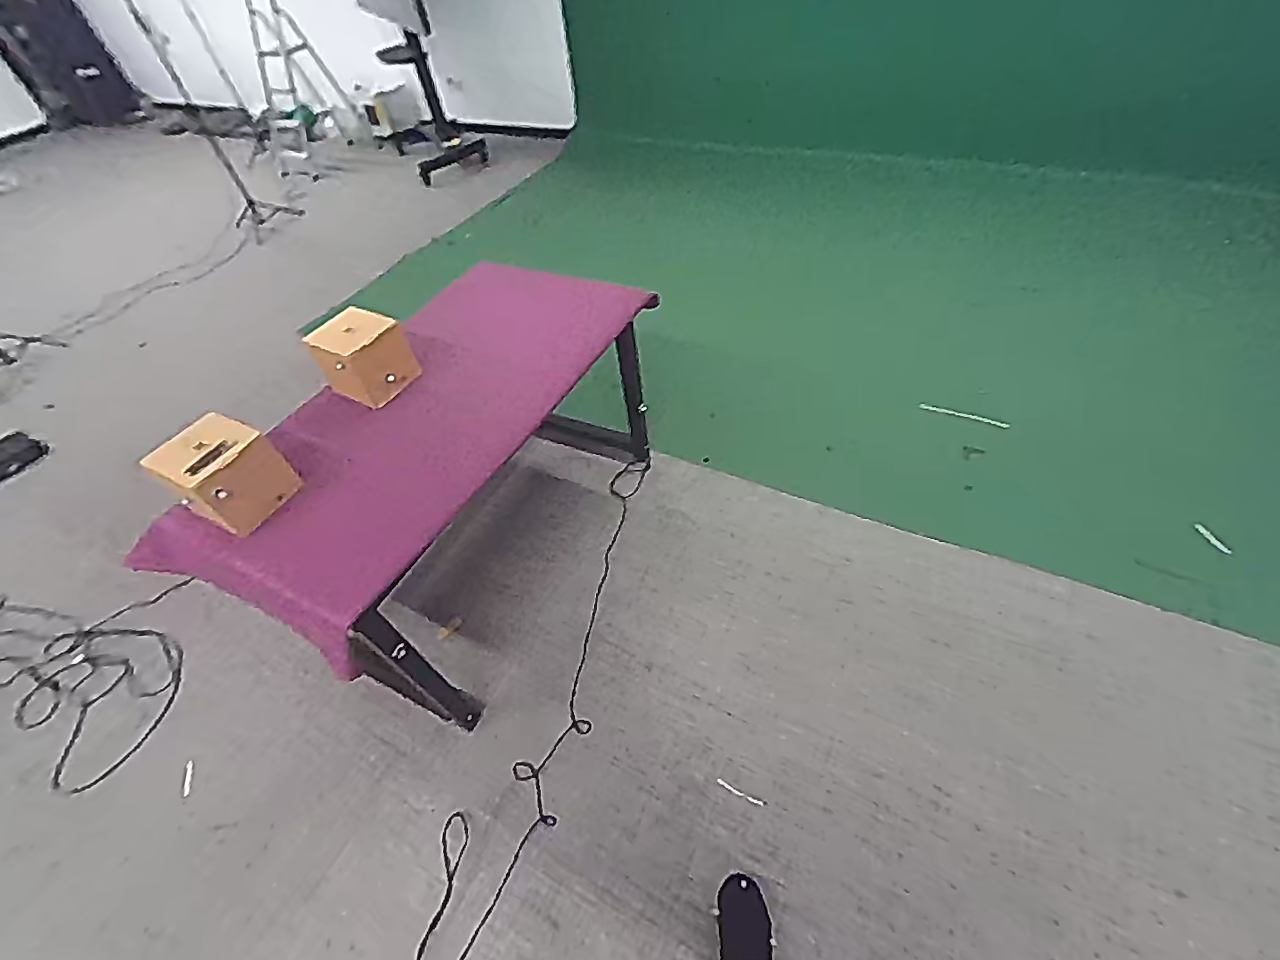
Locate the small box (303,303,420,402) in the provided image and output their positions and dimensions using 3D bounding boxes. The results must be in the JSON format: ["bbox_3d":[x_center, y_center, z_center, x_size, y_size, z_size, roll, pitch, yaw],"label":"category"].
[{"bbox_3d":[-0.709,-0.325,1.395,0.179,0.176,0.168,21,55,21],"label":"small box"}]
